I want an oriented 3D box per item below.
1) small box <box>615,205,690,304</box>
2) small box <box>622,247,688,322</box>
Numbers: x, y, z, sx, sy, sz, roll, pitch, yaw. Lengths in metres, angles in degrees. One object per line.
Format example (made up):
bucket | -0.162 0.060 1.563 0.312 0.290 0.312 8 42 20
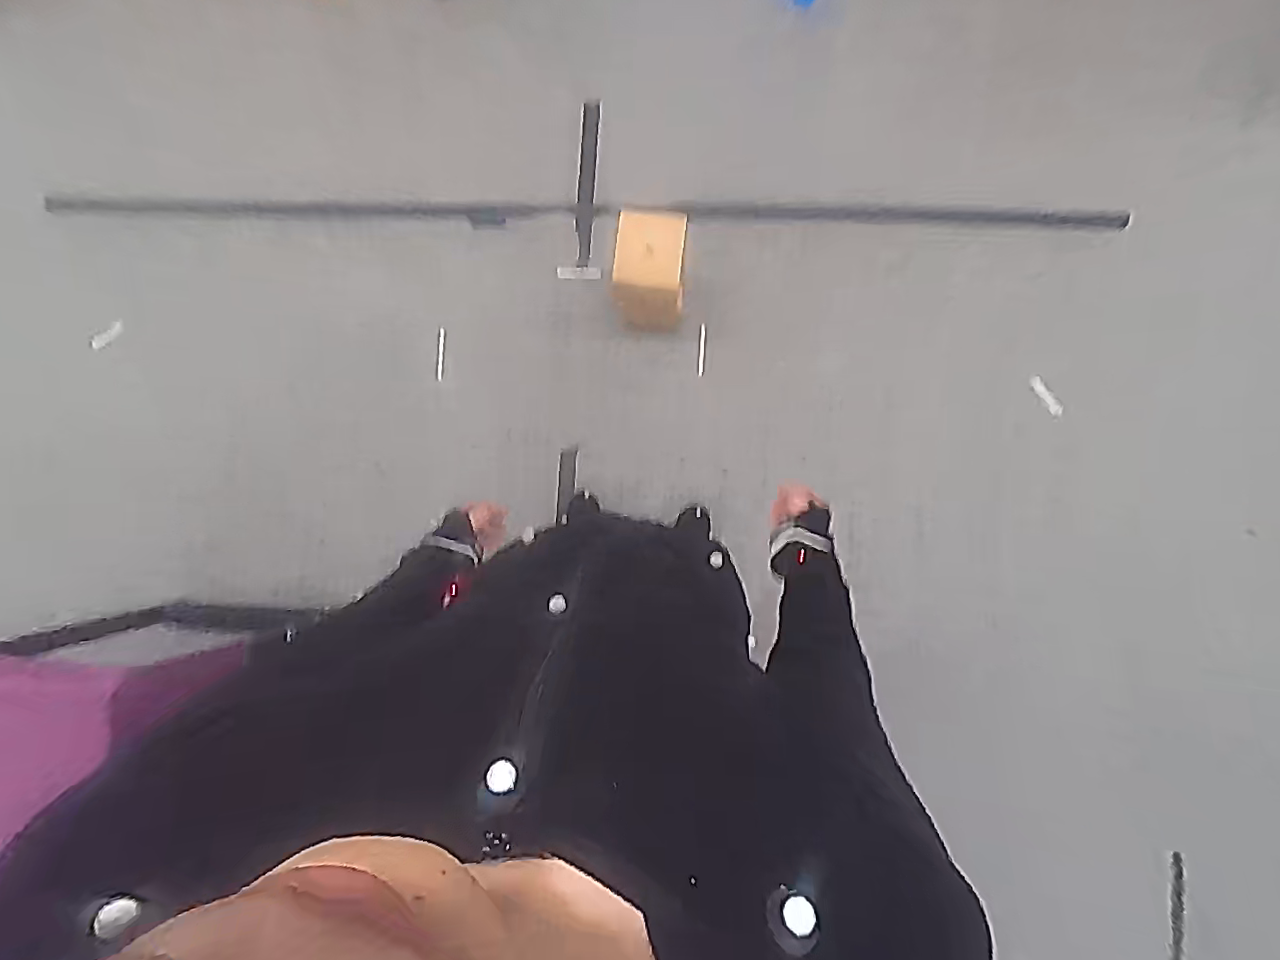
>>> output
small box | 0.032 -0.573 1.392 0.168 0.176 0.179 7 91 2
small box | 0.044 -0.561 1.555 0.179 0.176 0.168 2 90 3
